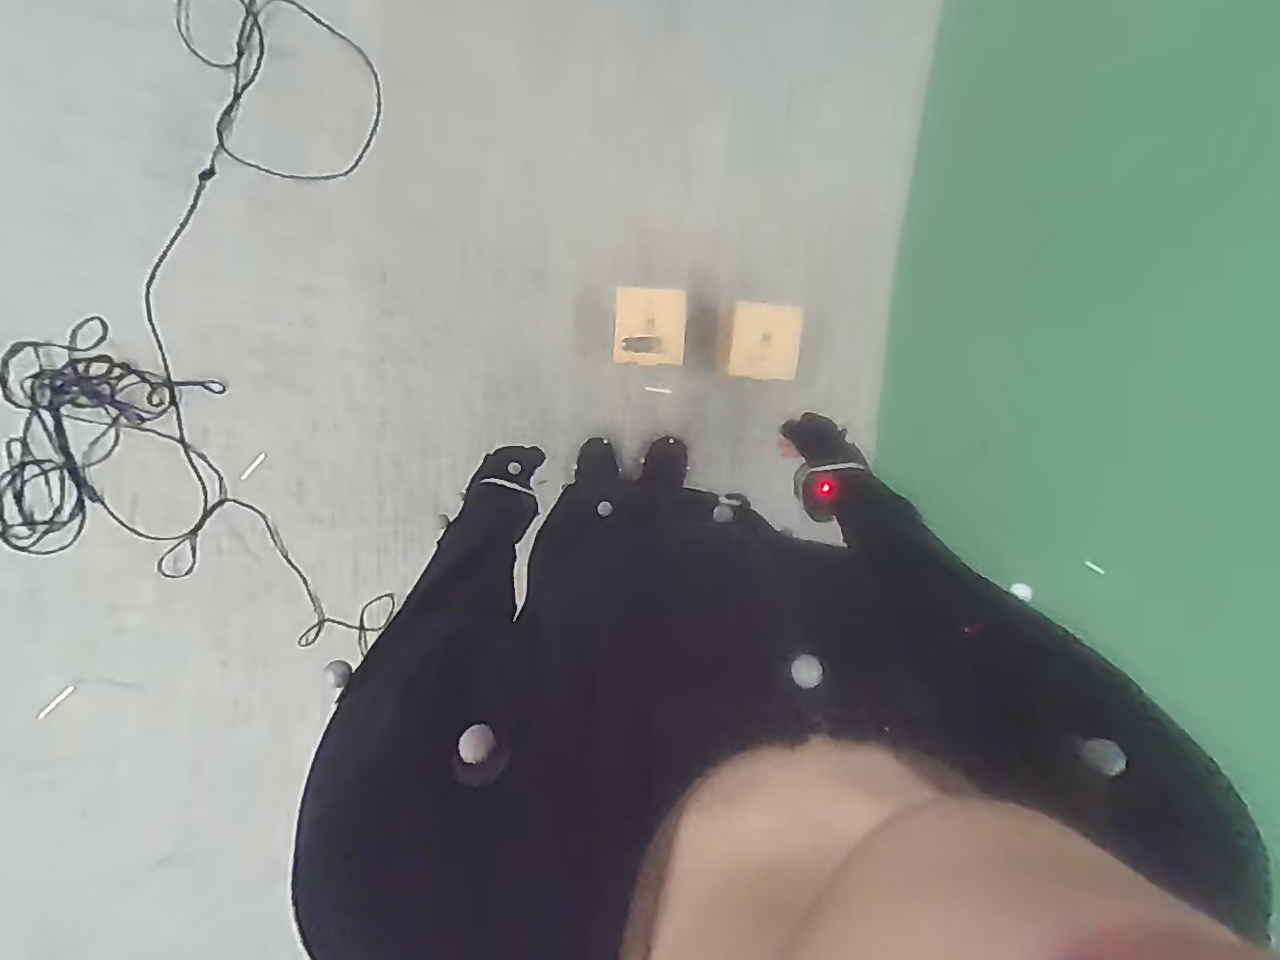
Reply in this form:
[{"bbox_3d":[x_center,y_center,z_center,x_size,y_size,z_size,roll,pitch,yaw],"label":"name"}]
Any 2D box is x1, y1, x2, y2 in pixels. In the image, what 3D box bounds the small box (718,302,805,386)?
[{"bbox_3d":[0.299,-0.336,1.365,0.168,0.176,0.179,6,98,-2],"label":"small box"}]
